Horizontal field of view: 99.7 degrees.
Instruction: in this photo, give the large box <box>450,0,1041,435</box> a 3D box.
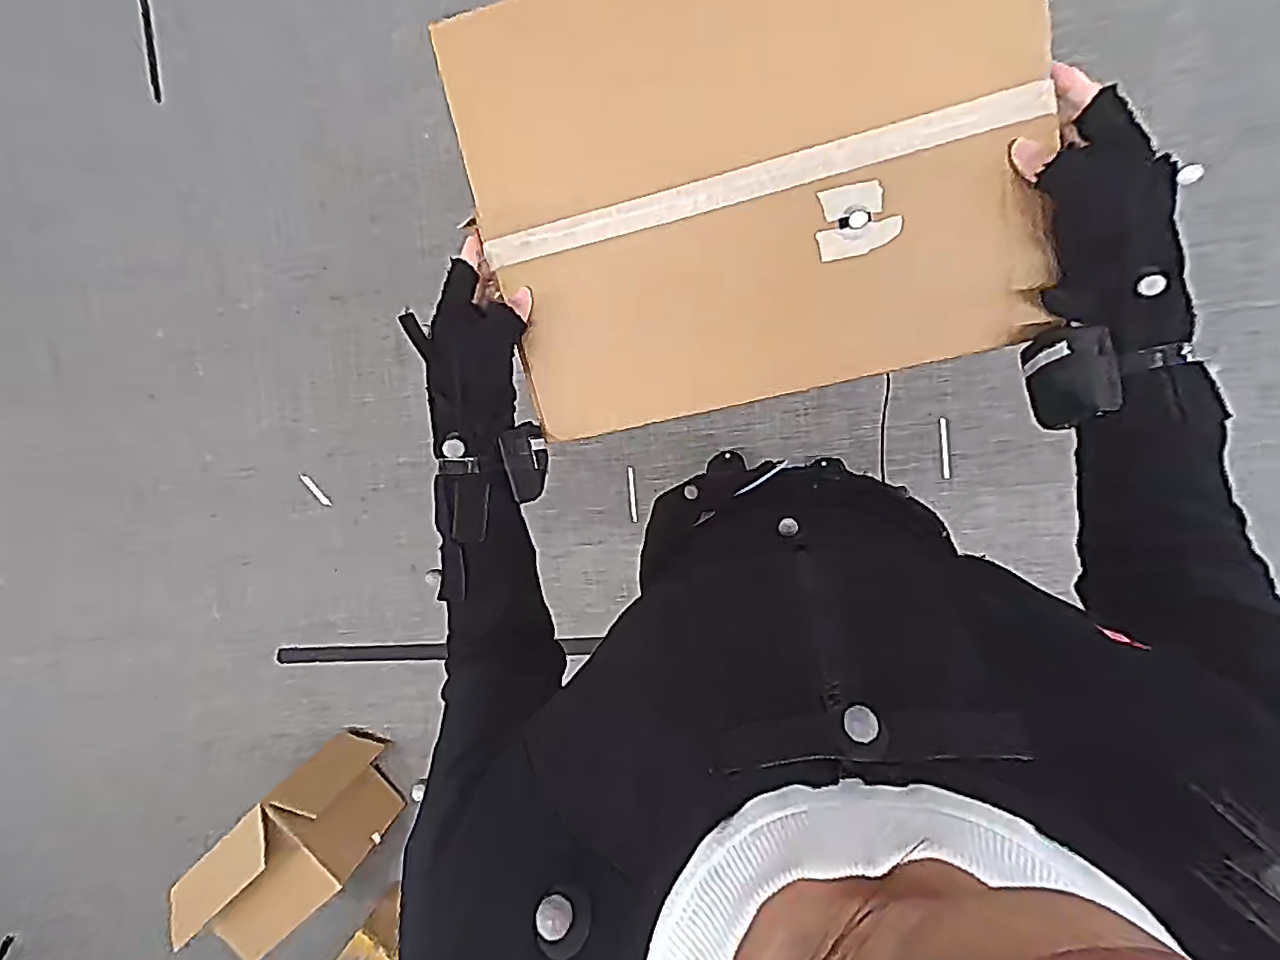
[{"bbox_3d":[0.093,-0.258,0.553,0.408,0.320,0.320,-11,103,8],"label":"large box"}]
